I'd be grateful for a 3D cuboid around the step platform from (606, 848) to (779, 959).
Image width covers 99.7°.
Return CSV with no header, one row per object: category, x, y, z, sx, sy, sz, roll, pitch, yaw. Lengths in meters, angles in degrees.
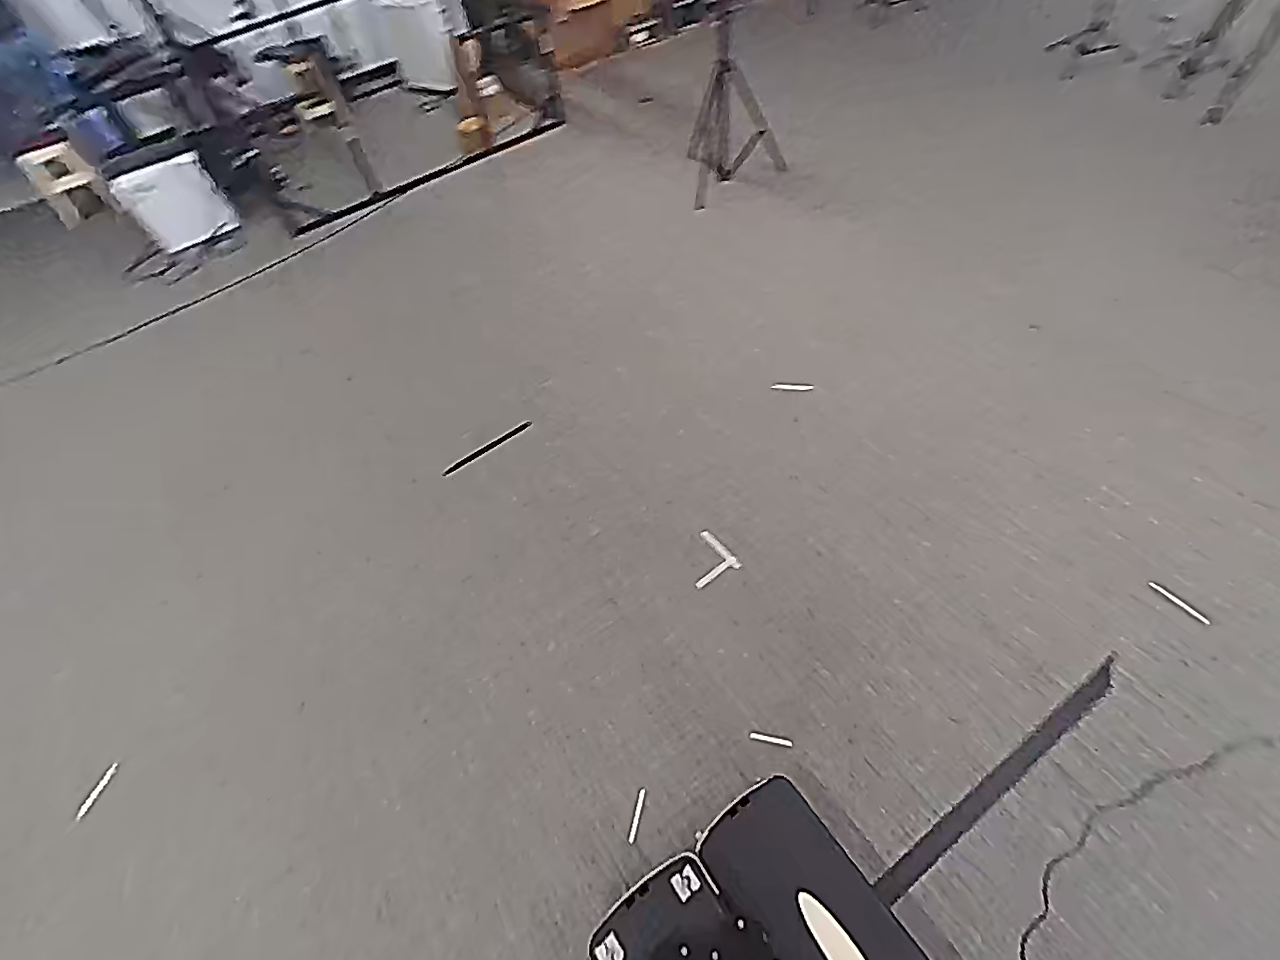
step platform,0.219,1.114,1.040,0.286,0.204,0.684,-33,56,-16
